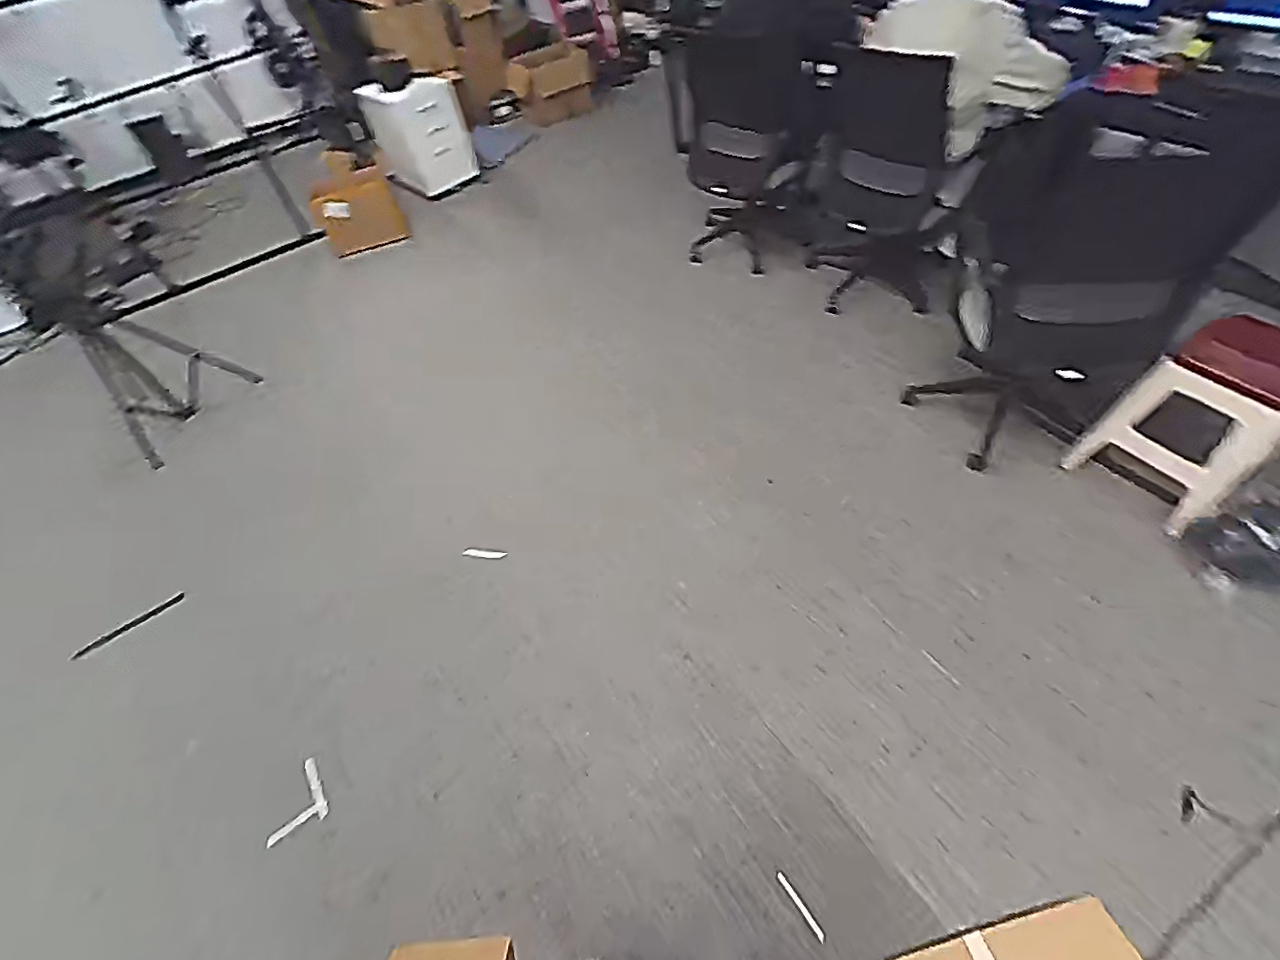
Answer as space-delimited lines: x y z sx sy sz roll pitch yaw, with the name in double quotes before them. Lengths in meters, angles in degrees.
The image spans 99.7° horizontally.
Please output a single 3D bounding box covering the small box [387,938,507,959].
"small box" -0.253 0.731 0.671 0.168 0.176 0.179 -7 8 2
